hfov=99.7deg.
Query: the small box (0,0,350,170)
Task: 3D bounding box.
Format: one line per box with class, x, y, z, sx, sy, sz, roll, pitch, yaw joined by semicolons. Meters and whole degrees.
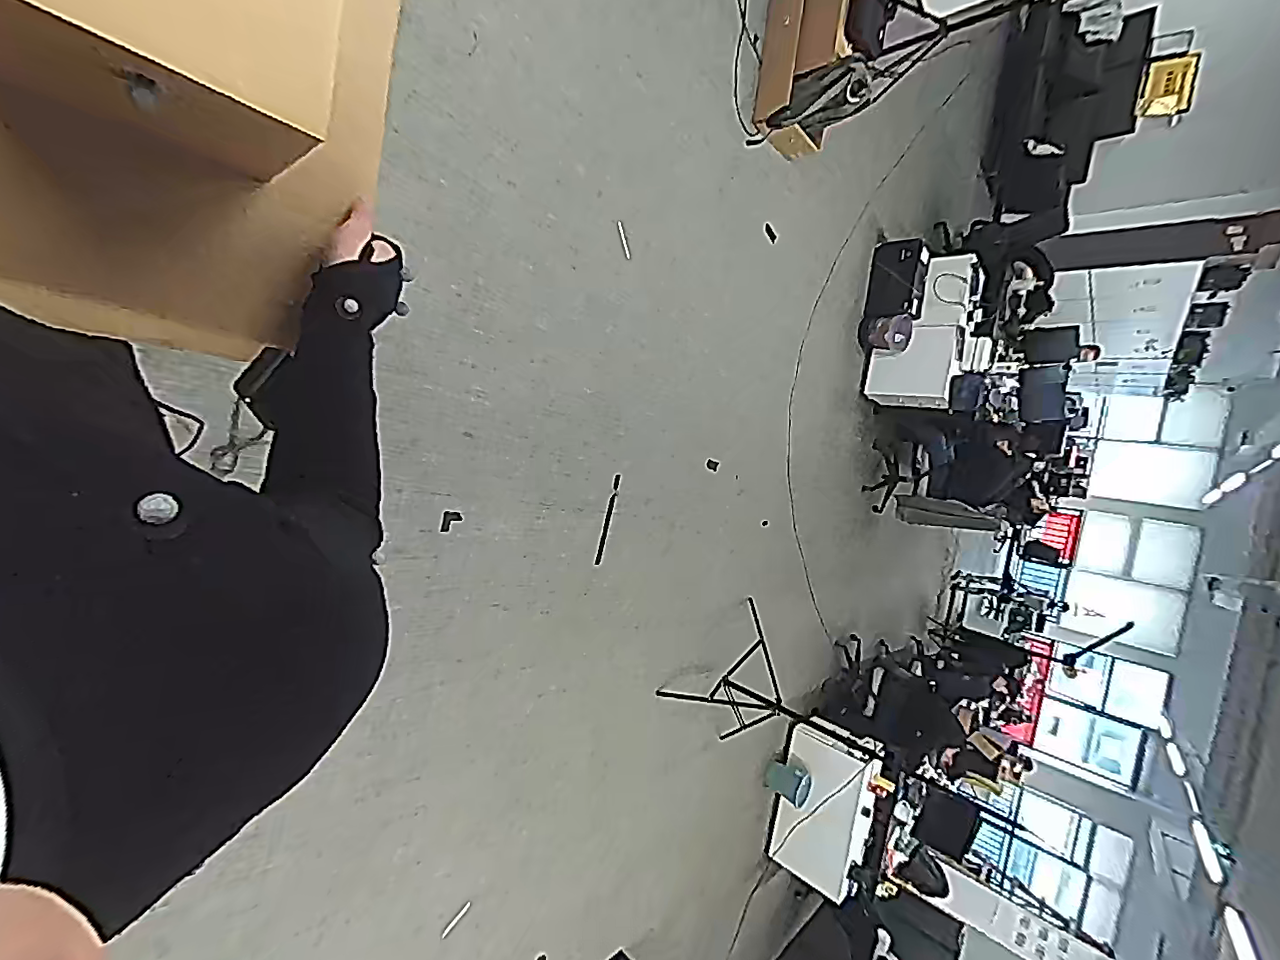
small box;-0.333;-0.350;0.389;0.179;0.176;0.168;5;98;-46
